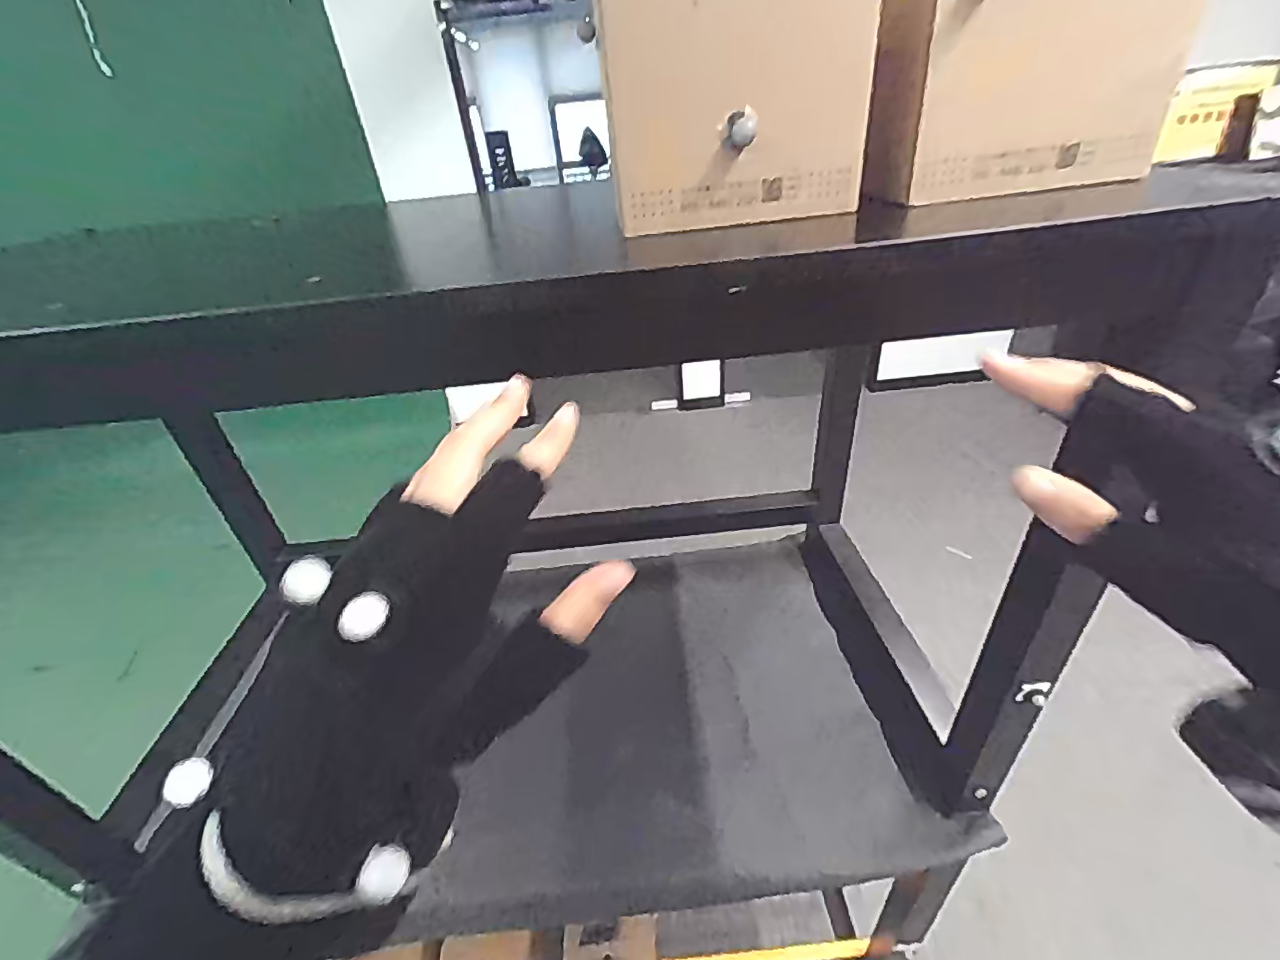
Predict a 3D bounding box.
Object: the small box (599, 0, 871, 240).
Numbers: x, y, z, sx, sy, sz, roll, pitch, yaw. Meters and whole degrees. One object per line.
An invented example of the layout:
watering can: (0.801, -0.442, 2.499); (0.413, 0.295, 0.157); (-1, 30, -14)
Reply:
small box: (0.056, -0.289, 0.415); (0.168, 0.176, 0.179); (-7, 33, 0)
